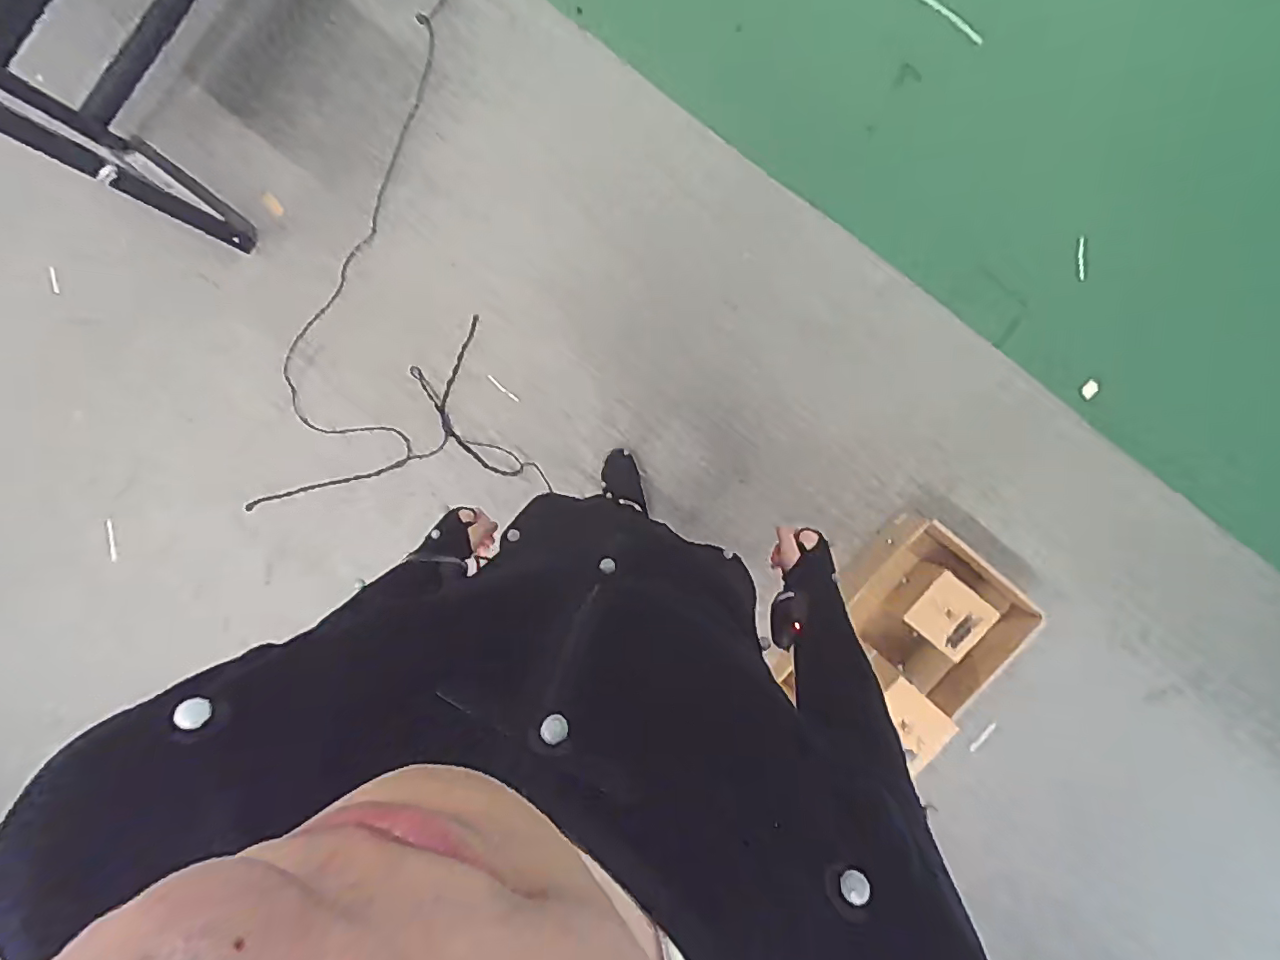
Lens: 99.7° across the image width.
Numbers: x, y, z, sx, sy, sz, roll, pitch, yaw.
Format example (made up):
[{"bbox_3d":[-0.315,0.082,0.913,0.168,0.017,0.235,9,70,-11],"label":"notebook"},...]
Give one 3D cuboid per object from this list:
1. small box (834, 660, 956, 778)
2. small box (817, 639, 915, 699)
[{"bbox_3d":[0.599,0.559,1.301,0.179,0.176,0.168,43,93,3],"label":"small box"},{"bbox_3d":[0.611,0.555,1.466,0.179,0.176,0.168,43,93,3],"label":"small box"}]
